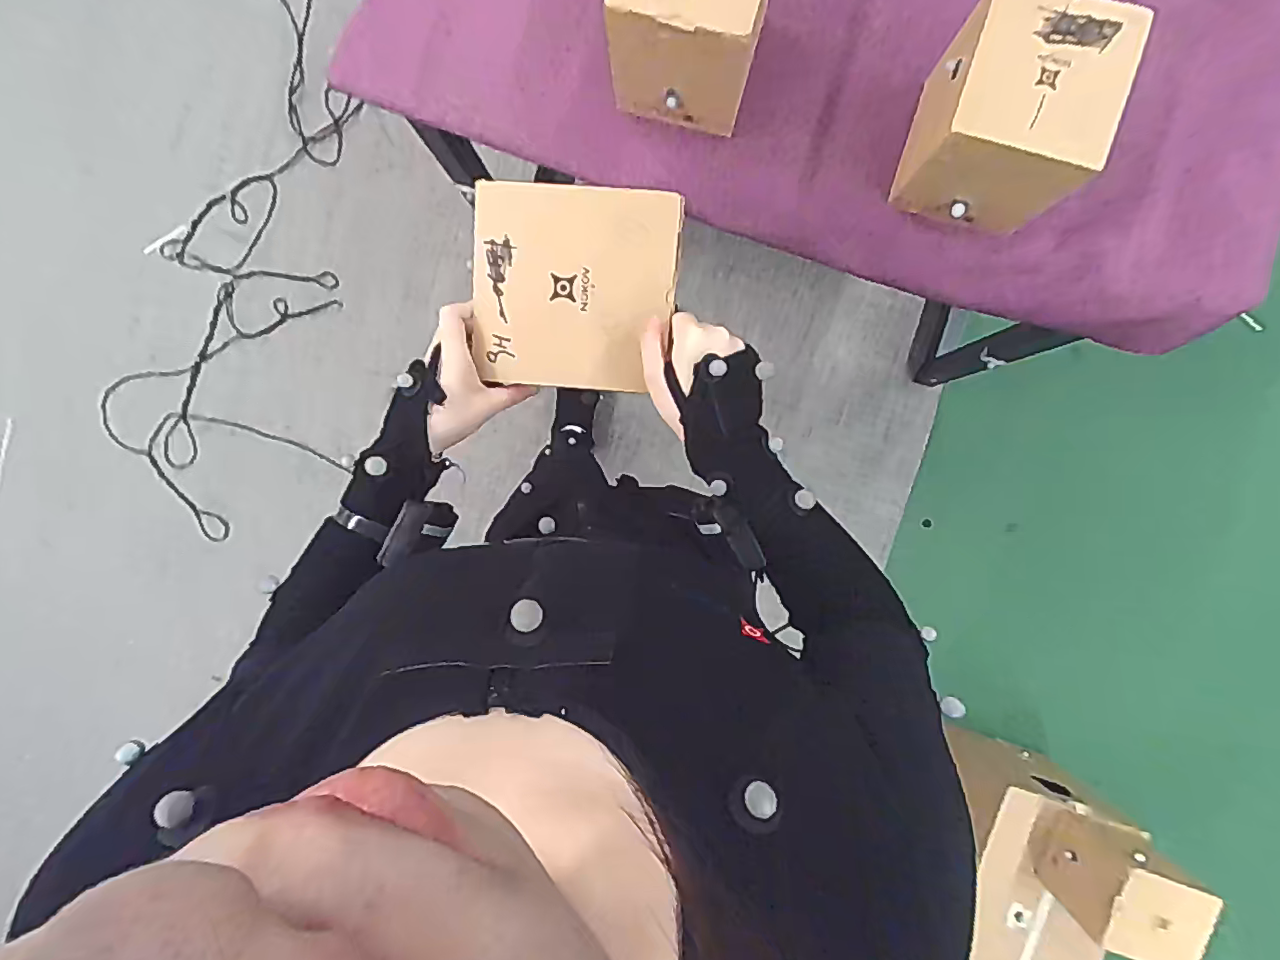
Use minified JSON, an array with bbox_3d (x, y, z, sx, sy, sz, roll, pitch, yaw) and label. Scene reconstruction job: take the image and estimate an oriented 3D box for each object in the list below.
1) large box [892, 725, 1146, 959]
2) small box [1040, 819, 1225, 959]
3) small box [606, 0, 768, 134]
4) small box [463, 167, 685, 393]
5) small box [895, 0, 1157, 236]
[{"bbox_3d":[0.876,0.887,1.304,0.320,0.320,0.408,19,93,3],"label":"large box"},{"bbox_3d":[0.946,0.808,1.056,0.179,0.176,0.168,19,93,2],"label":"small box"},{"bbox_3d":[0.064,-0.570,0.652,0.168,0.176,0.179,16,91,3],"label":"small box"},{"bbox_3d":[-0.055,-0.176,0.527,0.179,0.176,0.168,6,99,1],"label":"small box"},{"bbox_3d":[0.432,-0.425,0.638,0.168,0.176,0.179,17,92,3],"label":"small box"}]
